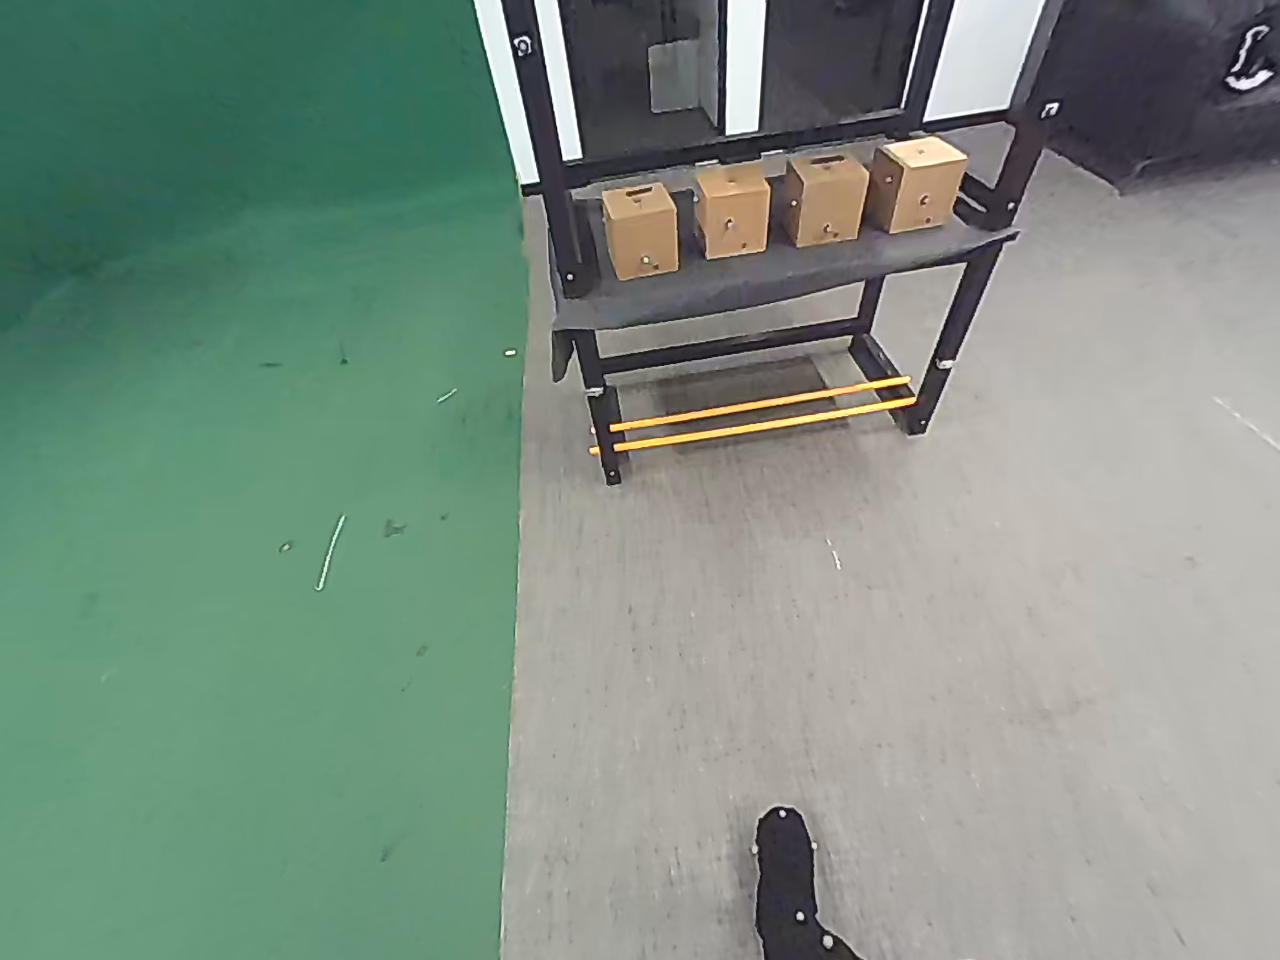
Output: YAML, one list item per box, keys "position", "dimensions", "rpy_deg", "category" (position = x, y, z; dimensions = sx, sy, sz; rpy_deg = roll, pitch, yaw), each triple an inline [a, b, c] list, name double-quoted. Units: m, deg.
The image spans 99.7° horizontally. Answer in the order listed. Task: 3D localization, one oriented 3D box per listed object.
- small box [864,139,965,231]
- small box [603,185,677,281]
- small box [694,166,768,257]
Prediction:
- position: [0.733, -0.793, 1.465]
  dimensions: [0.168, 0.176, 0.179]
  rpy_deg: [-9, 48, -1]
  category: "small box"
- position: [0.001, -0.658, 1.445]
  dimensions: [0.168, 0.176, 0.179]
  rpy_deg: [-12, 49, -3]
  category: "small box"
- position: [0.245, -0.724, 1.474]
  dimensions: [0.168, 0.176, 0.179]
  rpy_deg: [-9, 48, -1]
  category: "small box"
